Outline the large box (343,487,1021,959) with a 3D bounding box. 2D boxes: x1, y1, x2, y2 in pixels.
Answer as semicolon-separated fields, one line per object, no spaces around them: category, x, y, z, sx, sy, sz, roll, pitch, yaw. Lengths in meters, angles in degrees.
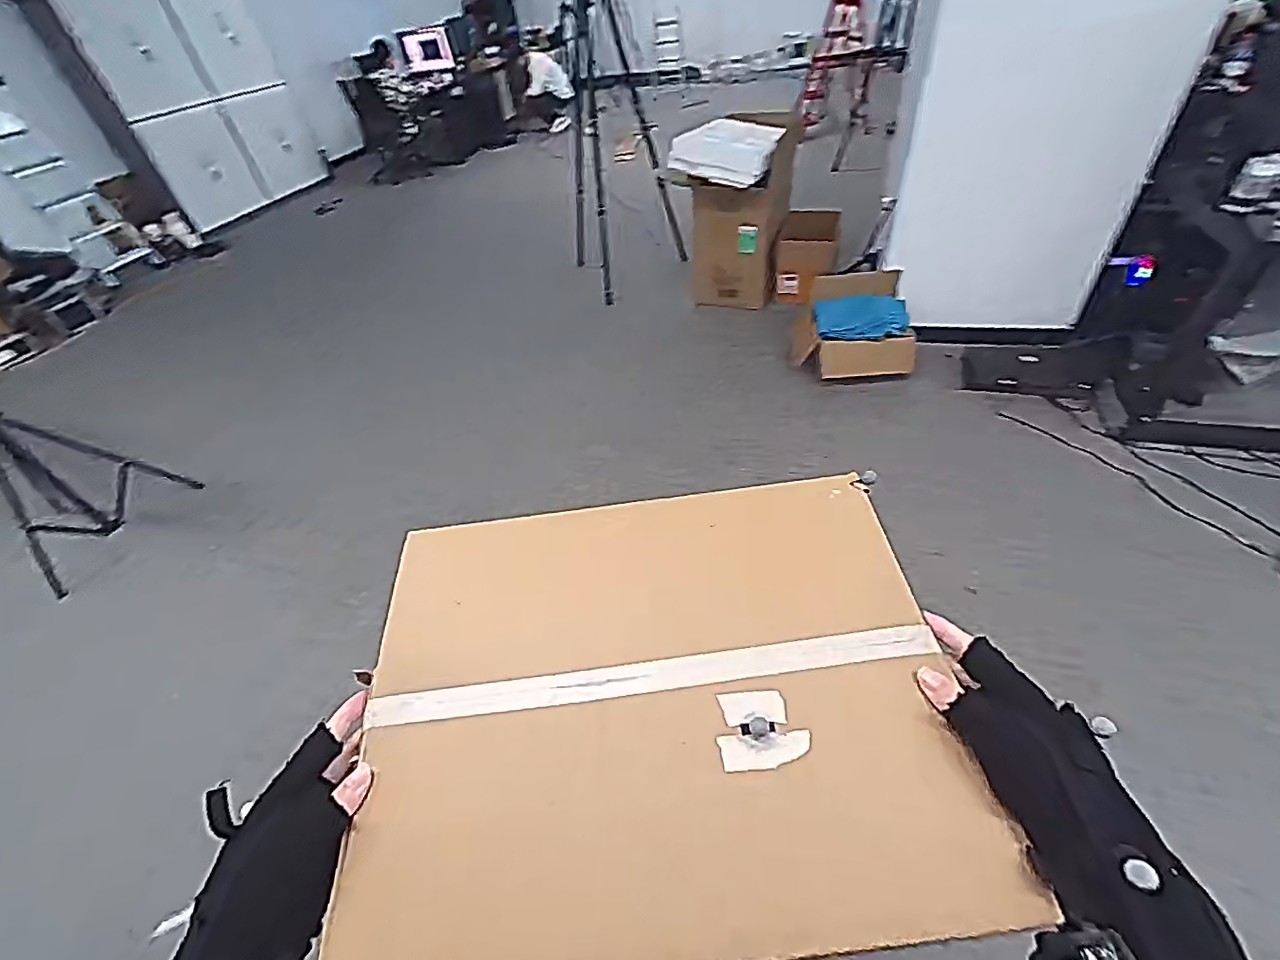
large box;0.018;0.244;0.514;0.408;0.320;0.320;-7;51;-1
